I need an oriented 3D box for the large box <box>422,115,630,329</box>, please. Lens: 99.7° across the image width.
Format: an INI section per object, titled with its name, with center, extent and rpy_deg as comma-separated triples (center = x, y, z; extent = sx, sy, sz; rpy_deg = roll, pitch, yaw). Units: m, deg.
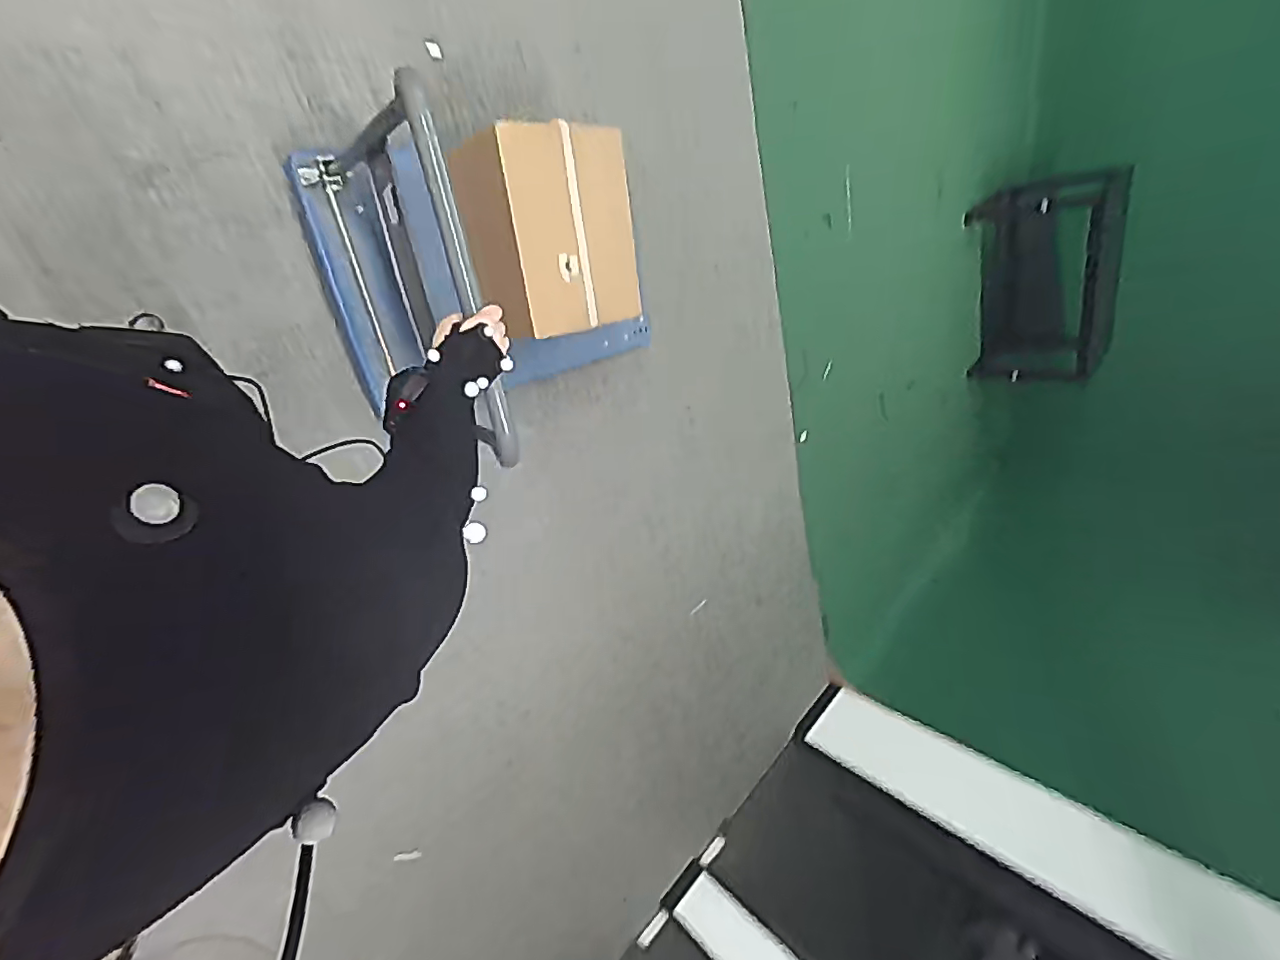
[large box]
center = -0.261, -0.590, 1.277
extent = 0.320, 0.320, 0.408
rpy_deg = -25, 119, -35
